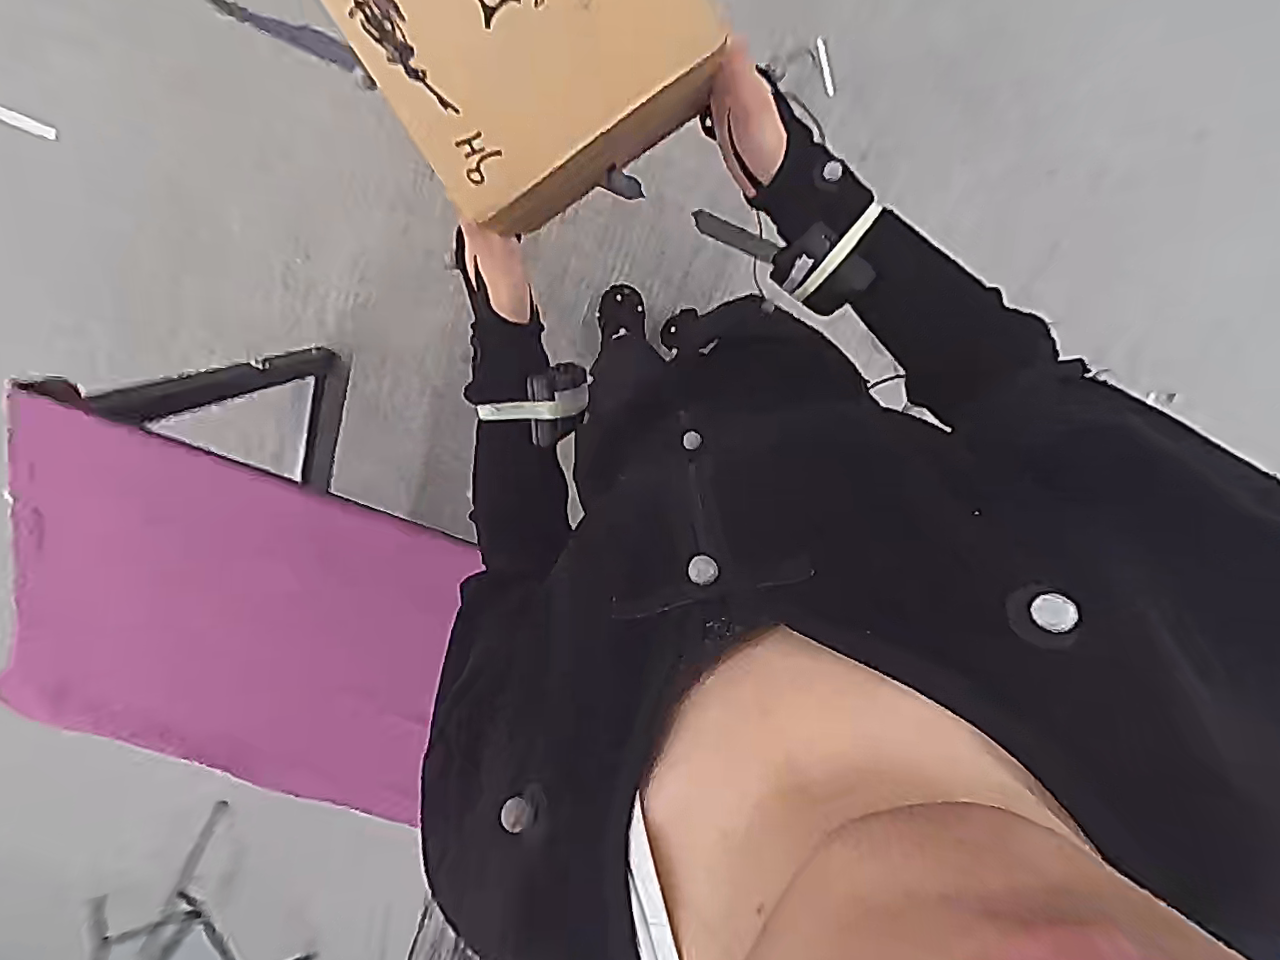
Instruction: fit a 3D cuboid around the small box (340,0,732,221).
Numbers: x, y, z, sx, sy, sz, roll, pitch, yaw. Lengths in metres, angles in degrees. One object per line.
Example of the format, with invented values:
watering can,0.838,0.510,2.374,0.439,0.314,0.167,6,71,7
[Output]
small box,-0.064,-0.292,0.348,0.179,0.176,0.168,-28,110,11
